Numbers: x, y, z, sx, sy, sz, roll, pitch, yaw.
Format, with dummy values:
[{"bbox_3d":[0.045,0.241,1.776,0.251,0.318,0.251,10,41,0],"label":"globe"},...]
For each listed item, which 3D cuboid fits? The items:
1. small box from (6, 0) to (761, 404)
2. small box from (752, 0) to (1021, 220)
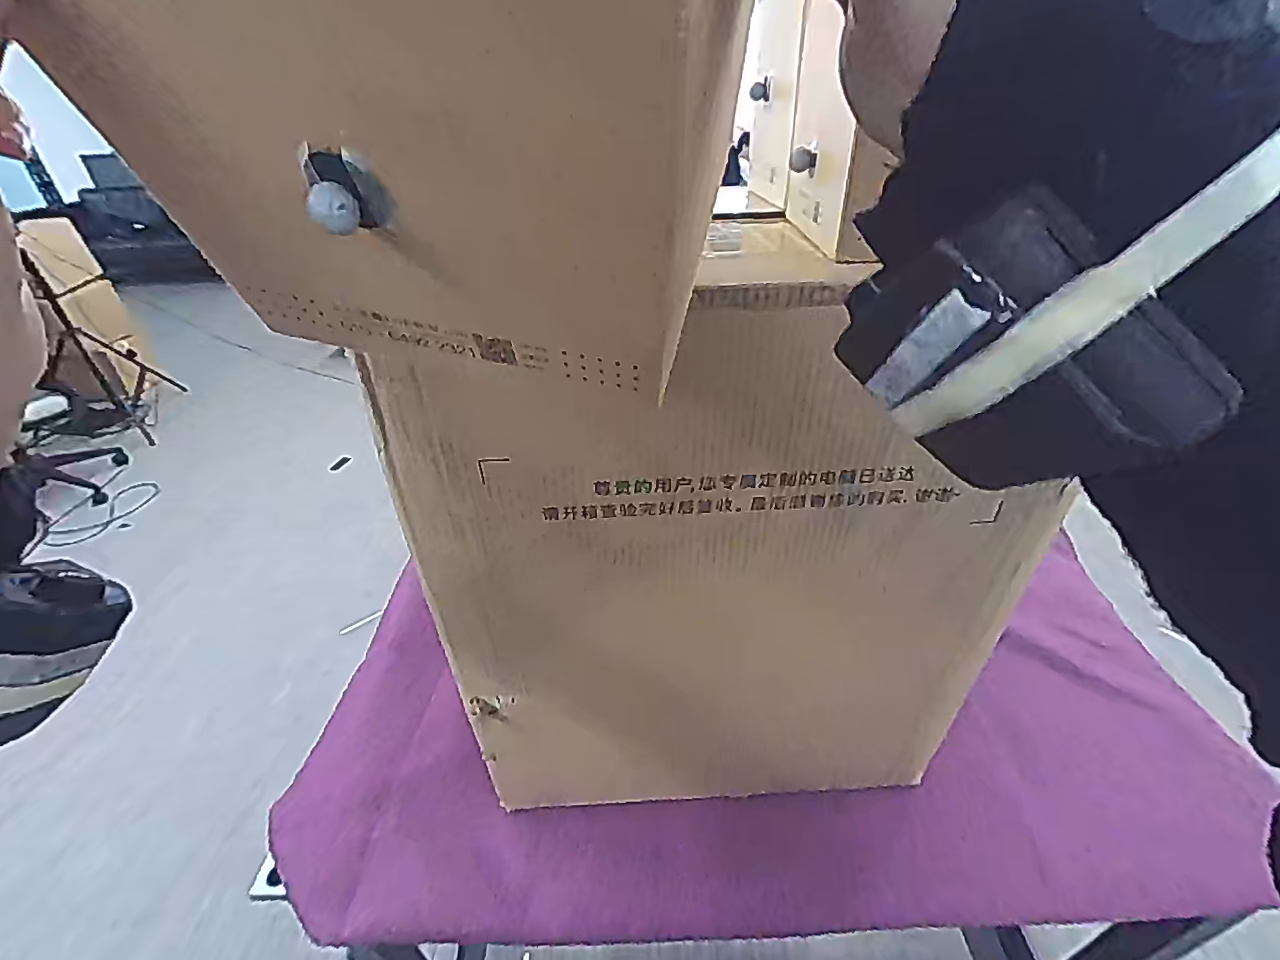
[{"bbox_3d":[-0.049,-0.150,0.181,0.168,0.176,0.179,13,64,5],"label":"small box"},{"bbox_3d":[0.205,-0.345,0.503,0.179,0.176,0.168,-2,34,-1],"label":"small box"}]
